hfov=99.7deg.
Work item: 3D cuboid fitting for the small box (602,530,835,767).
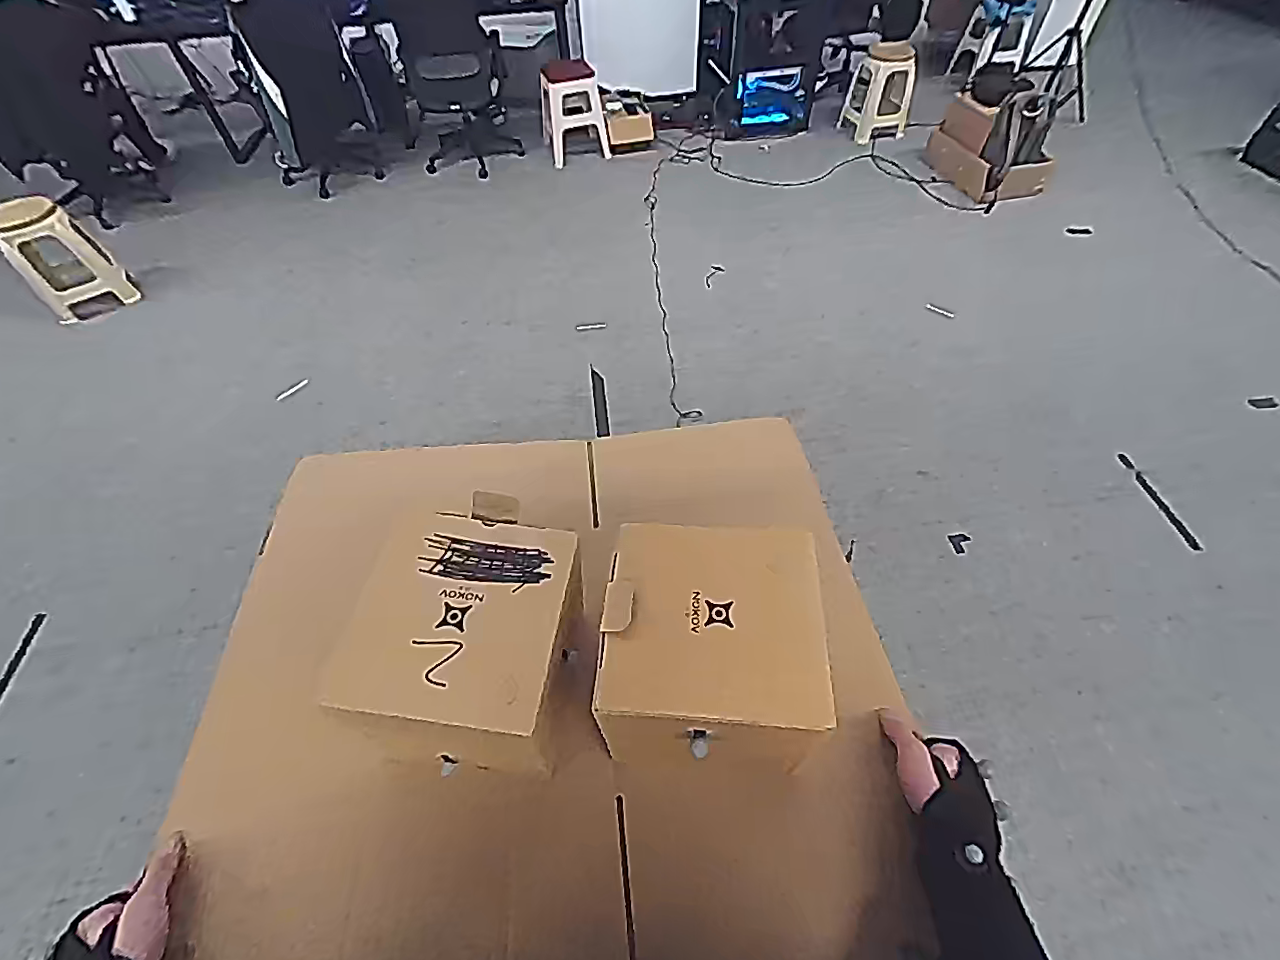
[{"bbox_3d":[0.069,0.163,0.512,0.179,0.176,0.168,1,52,6],"label":"small box"}]
